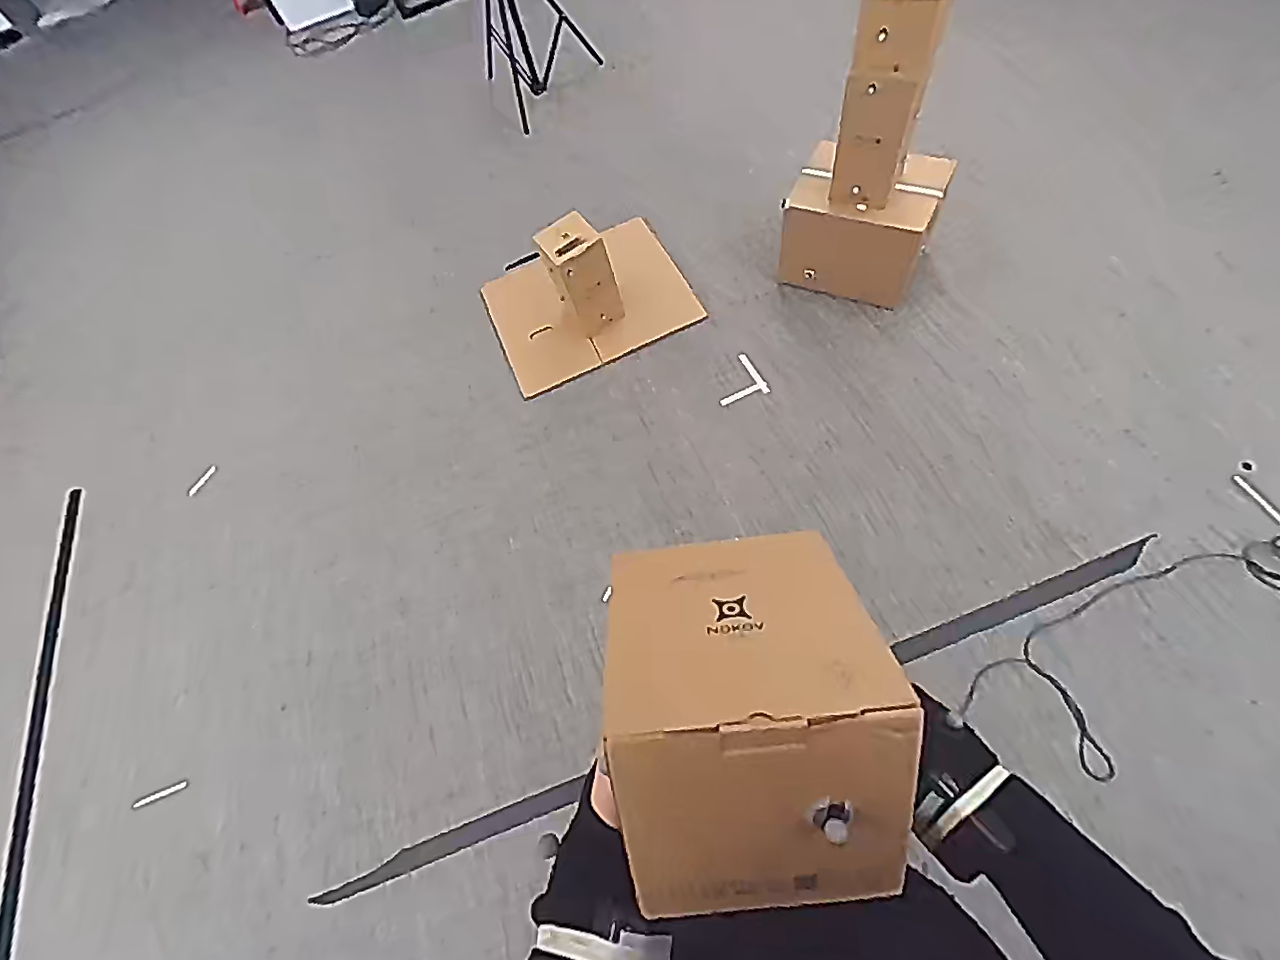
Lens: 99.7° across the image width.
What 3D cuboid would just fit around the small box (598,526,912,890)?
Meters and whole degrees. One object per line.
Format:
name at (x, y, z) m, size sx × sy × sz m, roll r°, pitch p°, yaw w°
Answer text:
small box at (0.068, 0.155, 0.384) m, size 0.168 × 0.176 × 0.179 m, roll -6°, pitch 25°, yaw 2°

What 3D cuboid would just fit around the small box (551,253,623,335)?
small box at (-0.180, -0.641, 1.882) m, size 0.168 × 0.176 × 0.179 m, roll -33°, pitch 63°, yaw -3°

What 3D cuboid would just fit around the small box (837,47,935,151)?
small box at (0.615, -0.976, 1.369) m, size 0.168 × 0.176 × 0.179 m, roll 22°, pitch 70°, yaw 20°

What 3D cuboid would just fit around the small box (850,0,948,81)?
small box at (0.589, -1.043, 1.222) m, size 0.168 × 0.176 × 0.179 m, roll 22°, pitch 70°, yaw 20°

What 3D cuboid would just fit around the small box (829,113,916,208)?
small box at (0.642, -0.903, 1.513) m, size 0.168 × 0.176 × 0.179 m, roll 22°, pitch 71°, yaw 20°
